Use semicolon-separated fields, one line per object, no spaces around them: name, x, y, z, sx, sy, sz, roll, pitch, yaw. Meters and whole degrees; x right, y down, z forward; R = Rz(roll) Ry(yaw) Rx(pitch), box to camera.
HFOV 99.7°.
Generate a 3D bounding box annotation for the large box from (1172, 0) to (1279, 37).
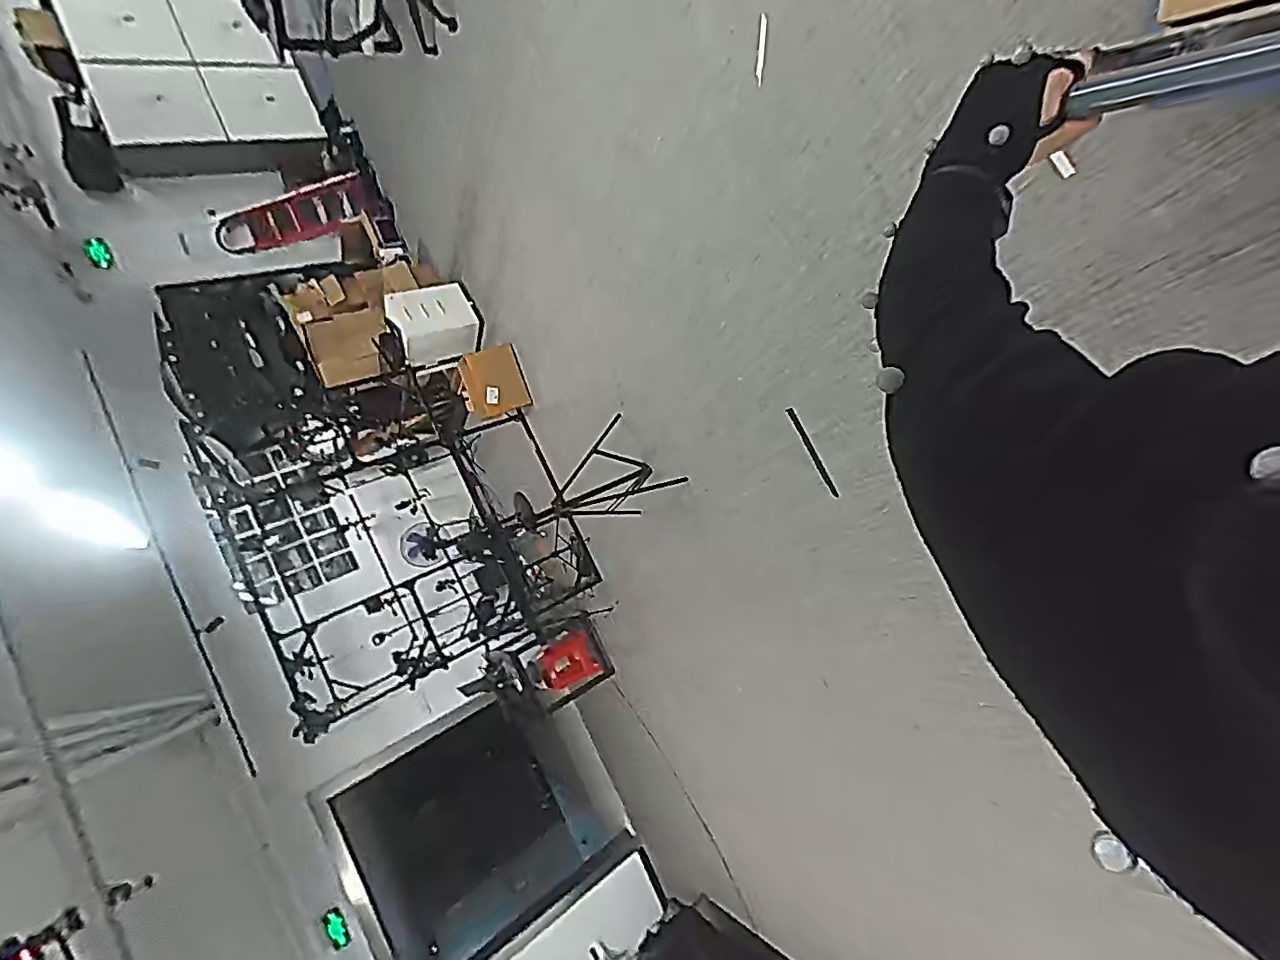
large box;0.853;-0.689;0.516;0.408;0.320;0.320;24;132;49
